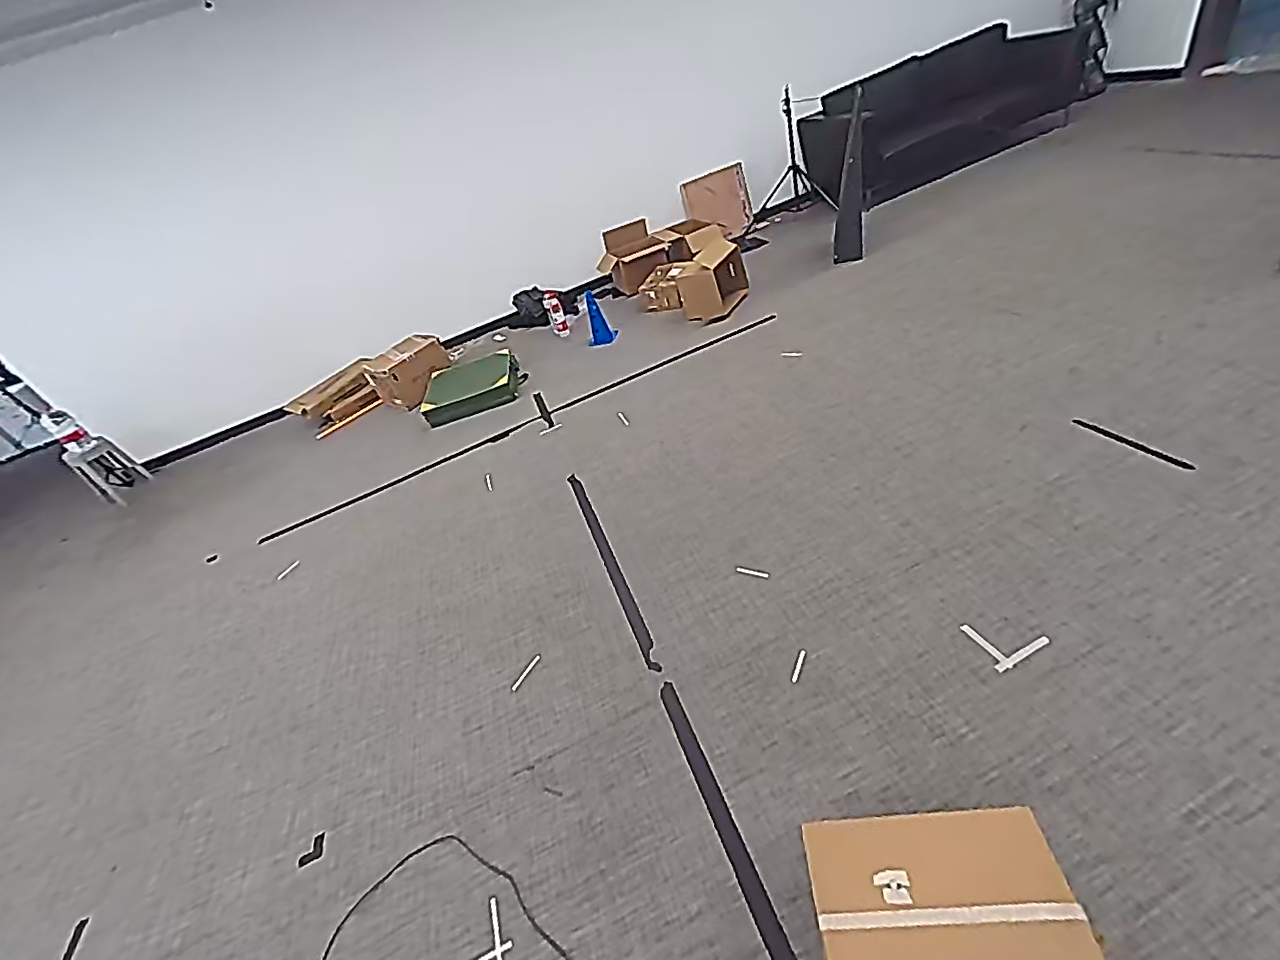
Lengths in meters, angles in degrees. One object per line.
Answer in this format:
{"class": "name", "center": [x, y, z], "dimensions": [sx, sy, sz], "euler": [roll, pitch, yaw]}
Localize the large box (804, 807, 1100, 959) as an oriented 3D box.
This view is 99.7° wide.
{"class": "large box", "center": [0.548, 0.841, 0.982], "dimensions": [0.408, 0.320, 0.320], "euler": [-13, 36, 11]}
